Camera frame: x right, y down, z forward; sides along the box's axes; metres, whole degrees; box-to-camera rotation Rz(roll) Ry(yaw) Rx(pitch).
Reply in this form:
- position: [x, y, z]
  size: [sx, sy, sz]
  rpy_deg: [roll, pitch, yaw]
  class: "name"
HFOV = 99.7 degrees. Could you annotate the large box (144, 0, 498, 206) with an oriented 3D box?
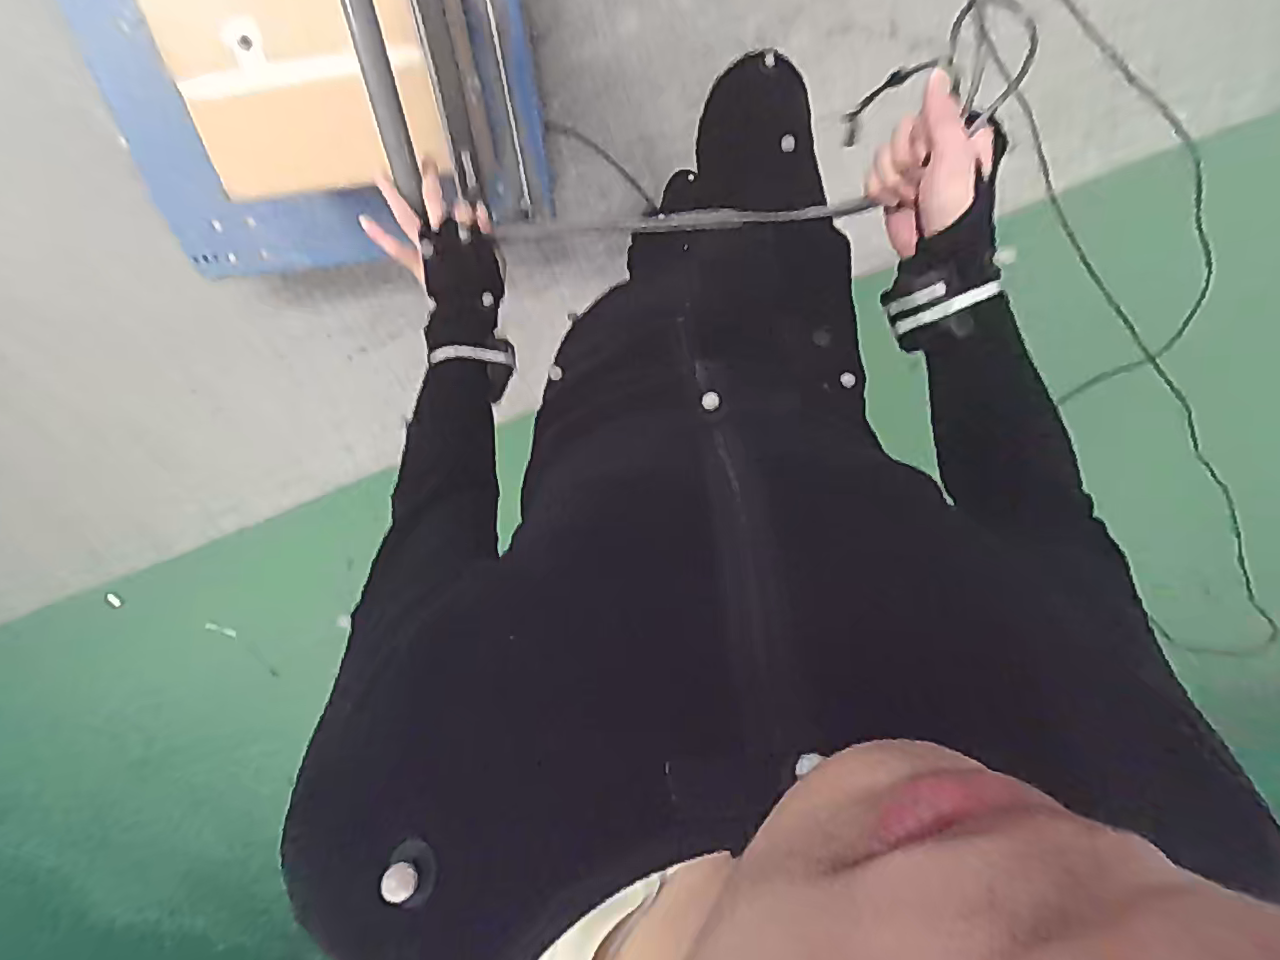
- position: [-0.518, -0.703, 0.972]
  size: [0.408, 0.320, 0.320]
  rpy_deg: [-5, 120, 4]
  class: "large box"
